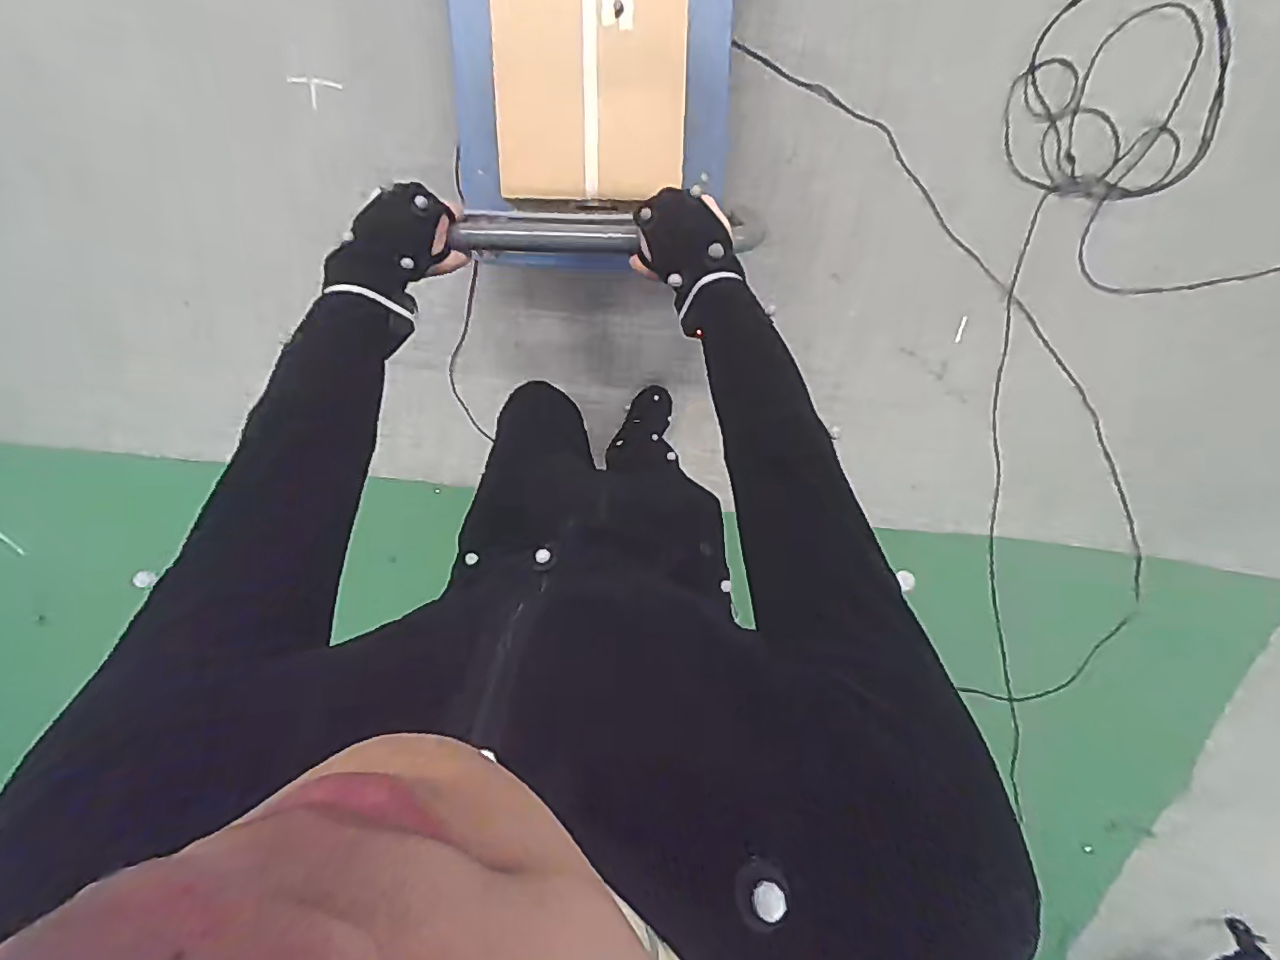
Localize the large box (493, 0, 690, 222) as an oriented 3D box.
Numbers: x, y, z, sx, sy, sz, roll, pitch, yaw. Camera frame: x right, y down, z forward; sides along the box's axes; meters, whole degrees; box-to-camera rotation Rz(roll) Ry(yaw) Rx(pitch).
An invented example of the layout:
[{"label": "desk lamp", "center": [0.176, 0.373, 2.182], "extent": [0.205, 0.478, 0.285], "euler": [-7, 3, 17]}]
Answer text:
[{"label": "large box", "center": [-0.077, -0.722, 1.014], "extent": [0.320, 0.320, 0.408], "euler": [1, 109, -1]}]
